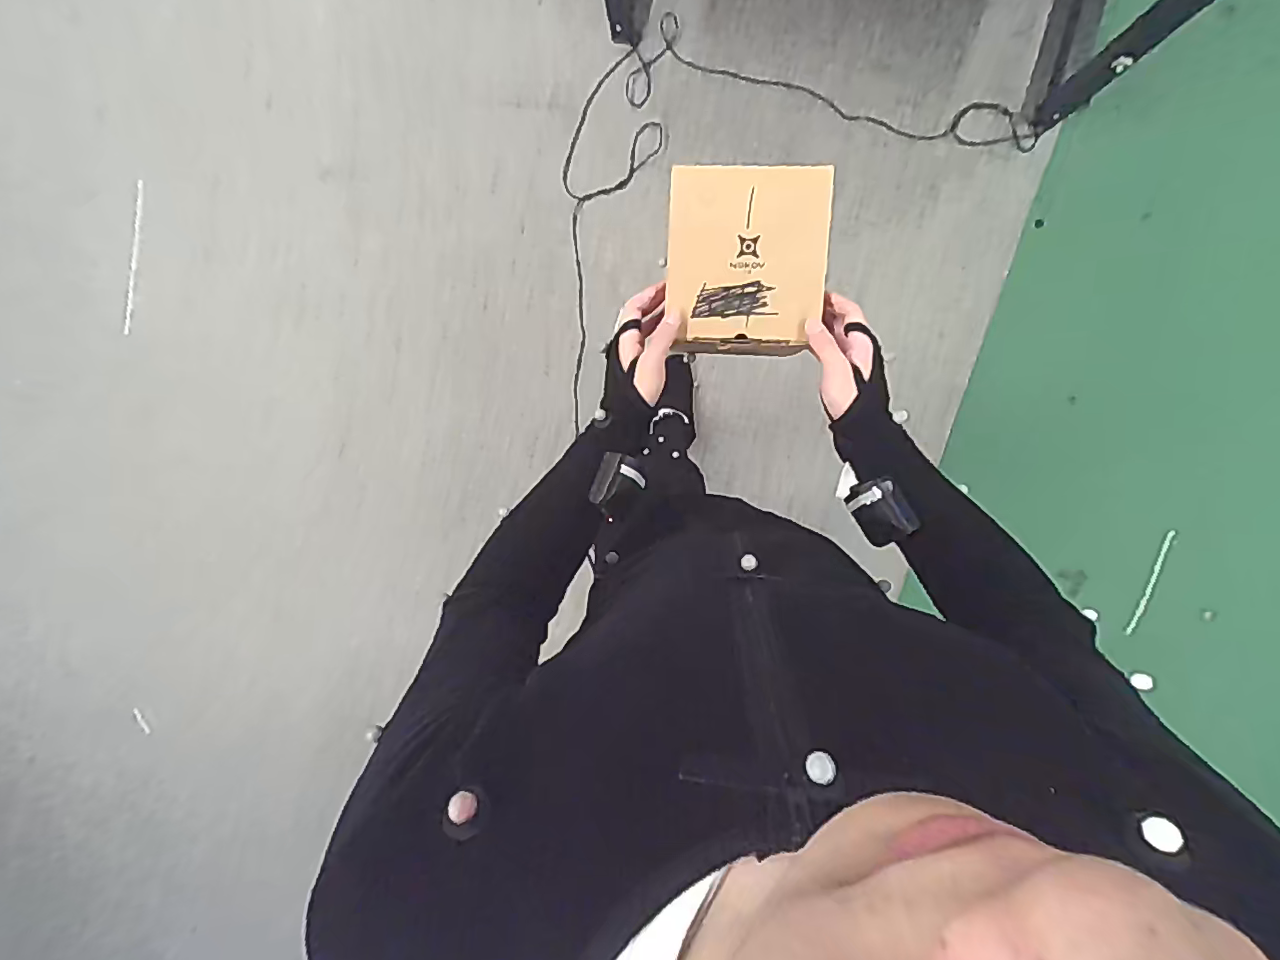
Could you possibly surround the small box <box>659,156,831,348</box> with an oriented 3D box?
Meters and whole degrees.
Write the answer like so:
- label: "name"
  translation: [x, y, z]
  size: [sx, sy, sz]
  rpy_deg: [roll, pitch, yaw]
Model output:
- label: "small box"
  translation: [0.113, -0.252, 0.635]
  size: [0.168, 0.176, 0.179]
  rpy_deg: [3, 98, 4]
